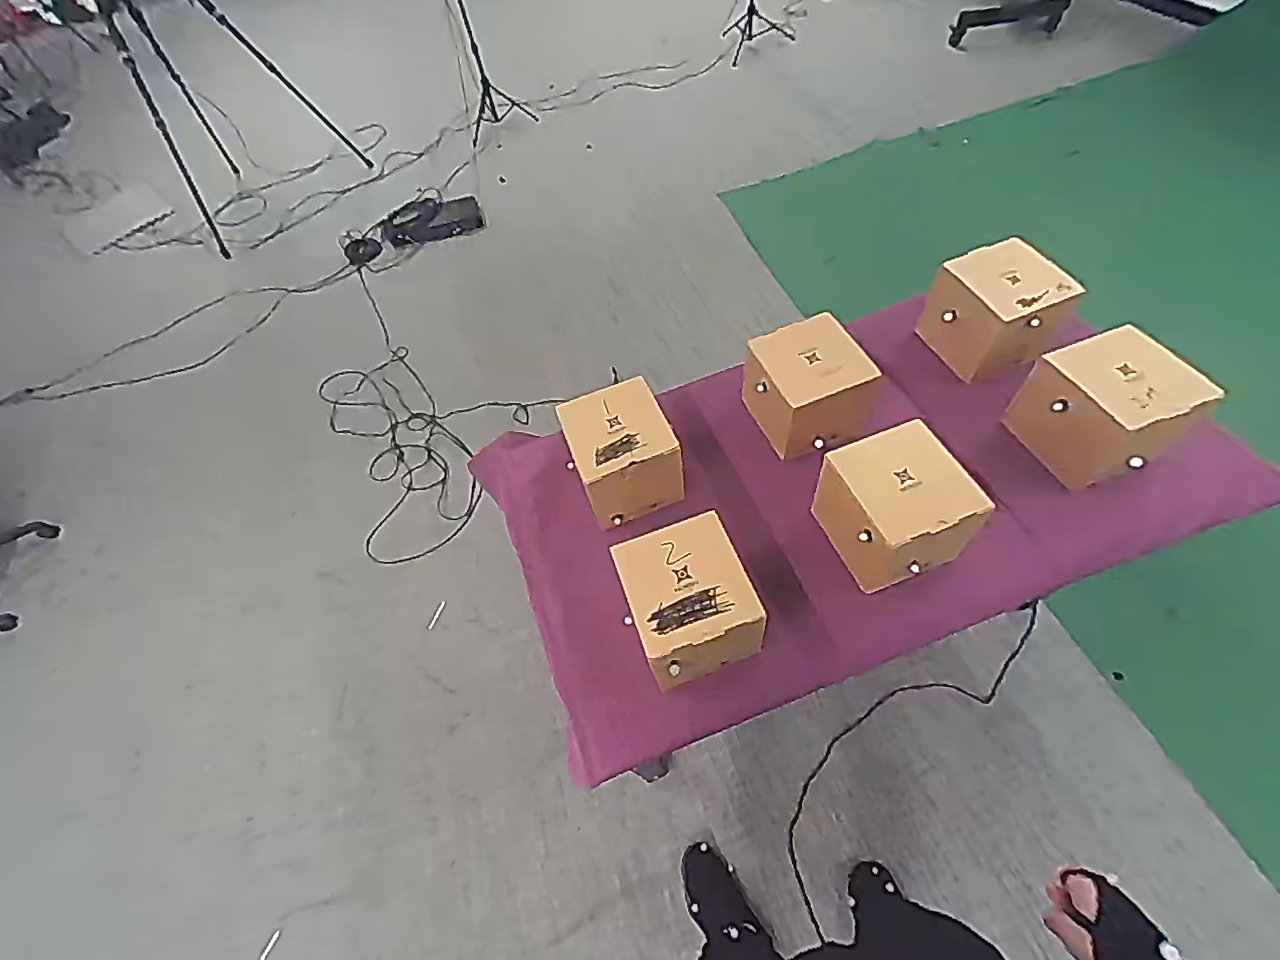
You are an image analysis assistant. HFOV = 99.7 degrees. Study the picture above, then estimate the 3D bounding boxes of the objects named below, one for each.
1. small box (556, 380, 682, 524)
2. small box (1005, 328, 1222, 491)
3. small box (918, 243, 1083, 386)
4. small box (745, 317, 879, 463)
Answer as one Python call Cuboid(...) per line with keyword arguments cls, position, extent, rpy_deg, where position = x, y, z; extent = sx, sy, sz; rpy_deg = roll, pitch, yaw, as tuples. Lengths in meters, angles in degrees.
Cuboid(cls="small box", position=(-0.032, -0.041, 0.967), extent=(0.168, 0.176, 0.179), rpy_deg=(-21, 57, -6))
Cuboid(cls="small box", position=(0.758, -0.113, 0.896), extent=(0.168, 0.176, 0.179), rpy_deg=(-20, 56, -3))
Cuboid(cls="small box", position=(0.674, -0.315, 1.041), extent=(0.168, 0.176, 0.179), rpy_deg=(-21, 57, -5))
Cuboid(cls="small box", position=(0.303, -0.163, 1.000), extent=(0.168, 0.176, 0.179), rpy_deg=(-20, 58, -4))
